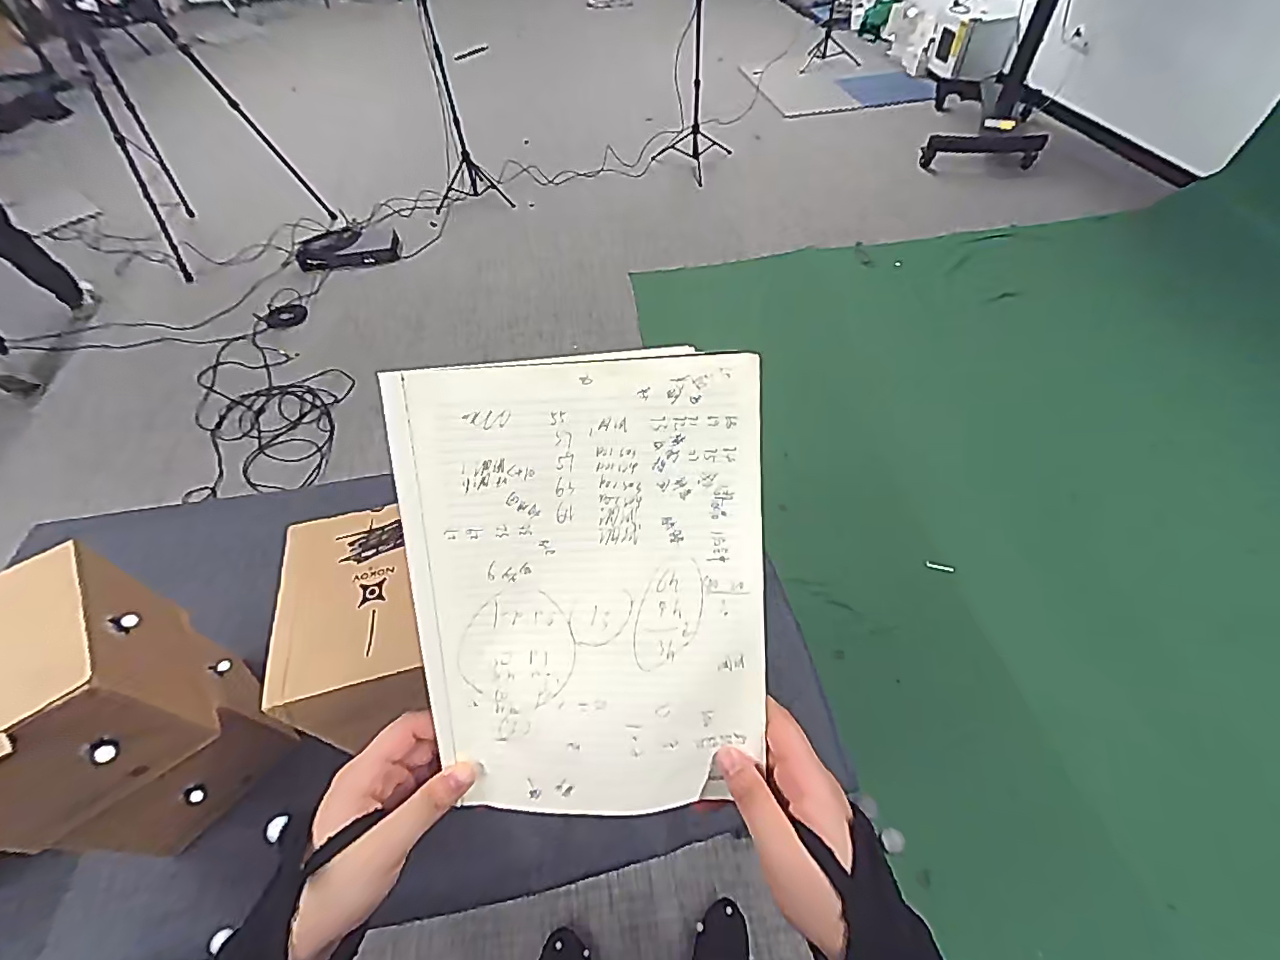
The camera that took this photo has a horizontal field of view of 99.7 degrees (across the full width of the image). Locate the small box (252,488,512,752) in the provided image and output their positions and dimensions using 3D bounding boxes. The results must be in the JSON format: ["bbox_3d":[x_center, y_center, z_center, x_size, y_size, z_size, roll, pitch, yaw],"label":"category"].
[{"bbox_3d":[-0.231,0.139,0.530,0.168,0.176,0.179,-13,53,-7],"label":"small box"}]

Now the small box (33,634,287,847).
[{"bbox_3d":[-0.564,0.293,0.633,0.179,0.176,0.168,32,59,24],"label":"small box"}]

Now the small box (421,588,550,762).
[{"bbox_3d":[-0.229,0.228,0.669,0.179,0.176,0.168,14,54,14],"label":"small box"}]

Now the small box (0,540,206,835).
[{"bbox_3d":[-0.552,0.196,0.502,0.168,0.176,0.179,-32,57,-22],"label":"small box"}]
